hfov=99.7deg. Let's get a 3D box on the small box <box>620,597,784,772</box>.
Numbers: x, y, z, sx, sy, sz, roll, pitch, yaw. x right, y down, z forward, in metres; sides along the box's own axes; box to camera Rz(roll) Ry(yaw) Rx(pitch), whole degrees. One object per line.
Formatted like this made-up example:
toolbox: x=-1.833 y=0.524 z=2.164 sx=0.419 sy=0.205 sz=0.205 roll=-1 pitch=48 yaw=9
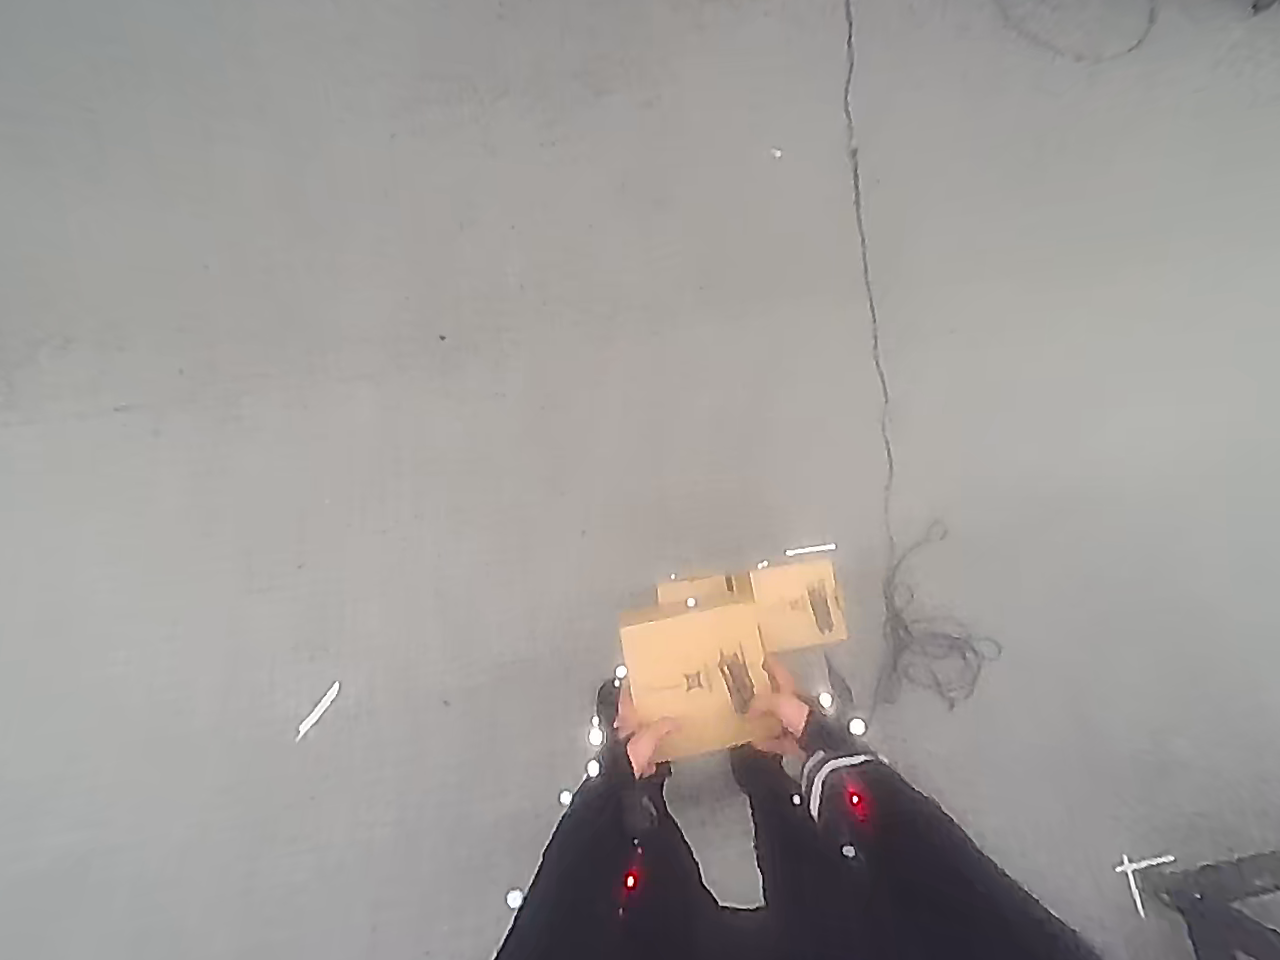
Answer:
small box: x=0.071 y=0.261 z=0.732 sx=0.179 sy=0.176 sz=0.168 roll=-12 pitch=83 yaw=-2
